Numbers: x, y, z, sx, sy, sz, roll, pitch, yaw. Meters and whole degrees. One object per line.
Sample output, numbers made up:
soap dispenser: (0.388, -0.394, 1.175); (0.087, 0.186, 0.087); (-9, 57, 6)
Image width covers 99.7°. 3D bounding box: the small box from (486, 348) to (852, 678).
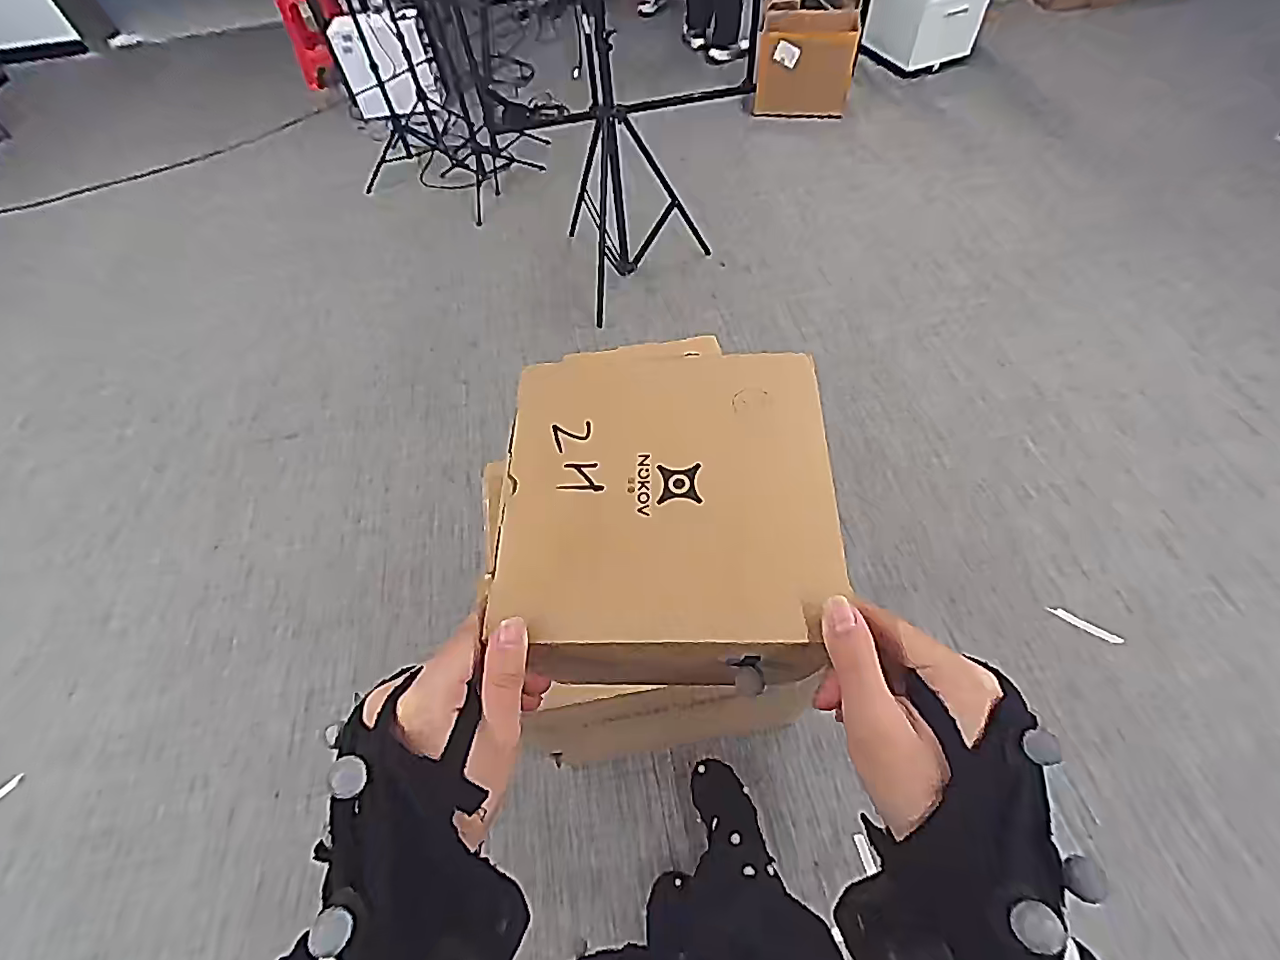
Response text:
small box: (0.020, 0.033, 0.360); (0.179, 0.176, 0.168); (-2, 62, 5)
